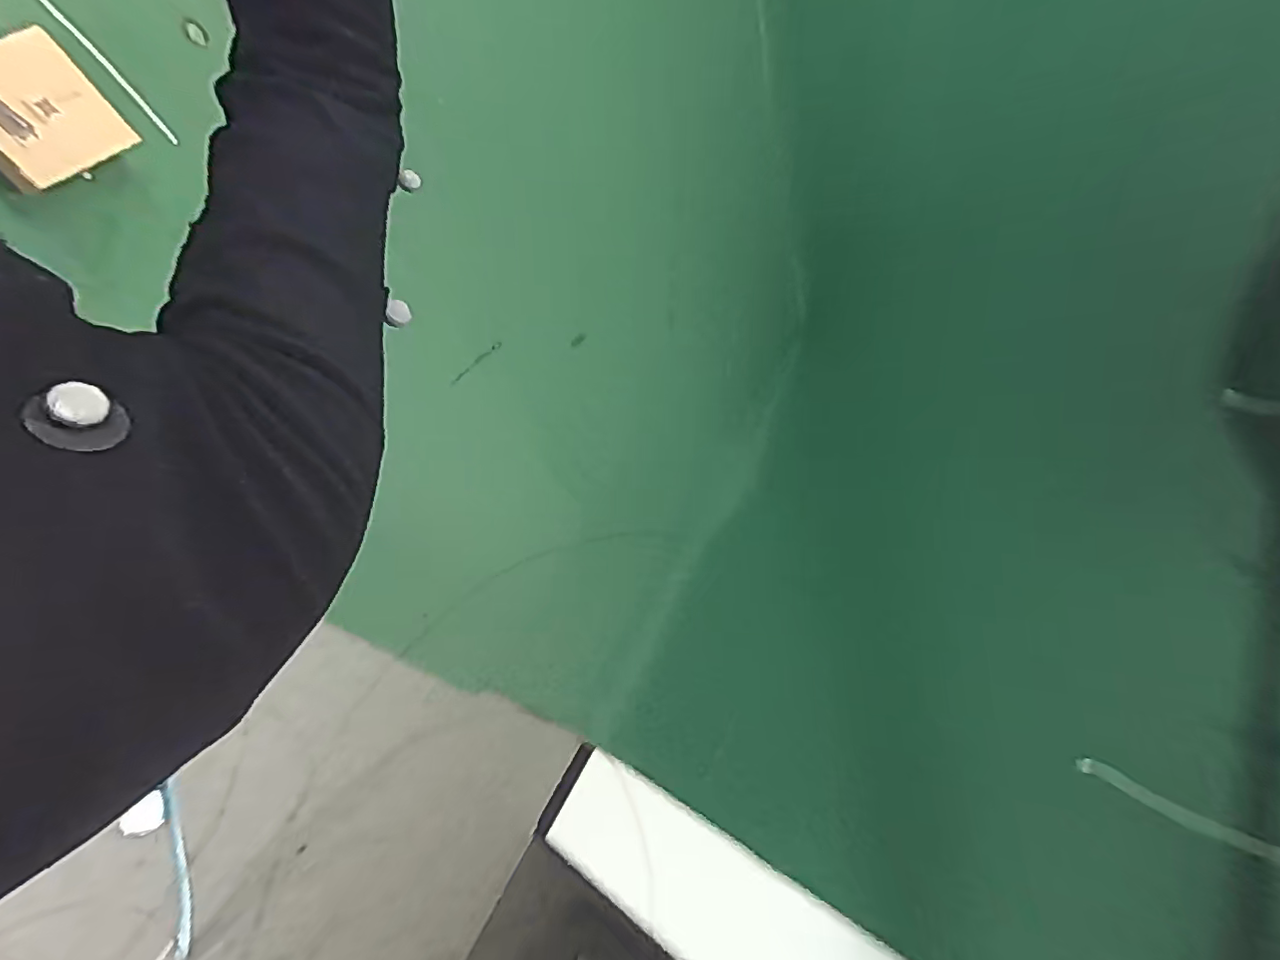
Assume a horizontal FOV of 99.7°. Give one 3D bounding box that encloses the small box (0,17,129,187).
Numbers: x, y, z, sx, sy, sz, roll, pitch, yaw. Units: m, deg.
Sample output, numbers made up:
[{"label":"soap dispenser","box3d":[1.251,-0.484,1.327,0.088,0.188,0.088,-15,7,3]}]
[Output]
[{"label":"small box","box3d":[-1.001,-0.600,0.876,0.179,0.176,0.168,-54,142,-22]}]
